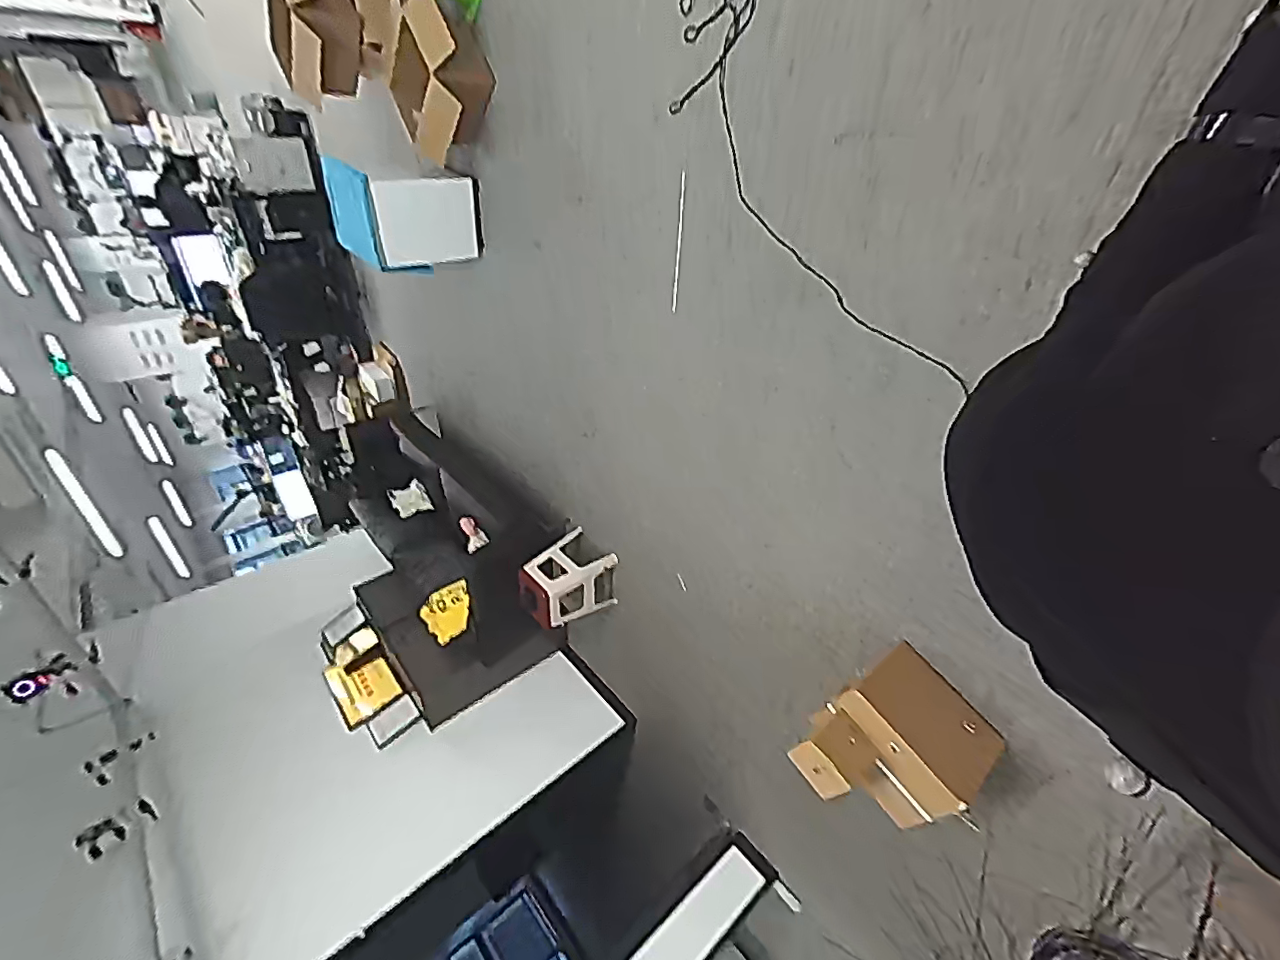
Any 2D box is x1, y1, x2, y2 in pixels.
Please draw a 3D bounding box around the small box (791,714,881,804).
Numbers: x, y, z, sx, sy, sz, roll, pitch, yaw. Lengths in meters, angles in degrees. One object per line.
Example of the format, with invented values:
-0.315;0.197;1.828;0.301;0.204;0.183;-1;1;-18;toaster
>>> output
0.618;0.873;1.696;0.168;0.176;0.179;49;143;23;small box
